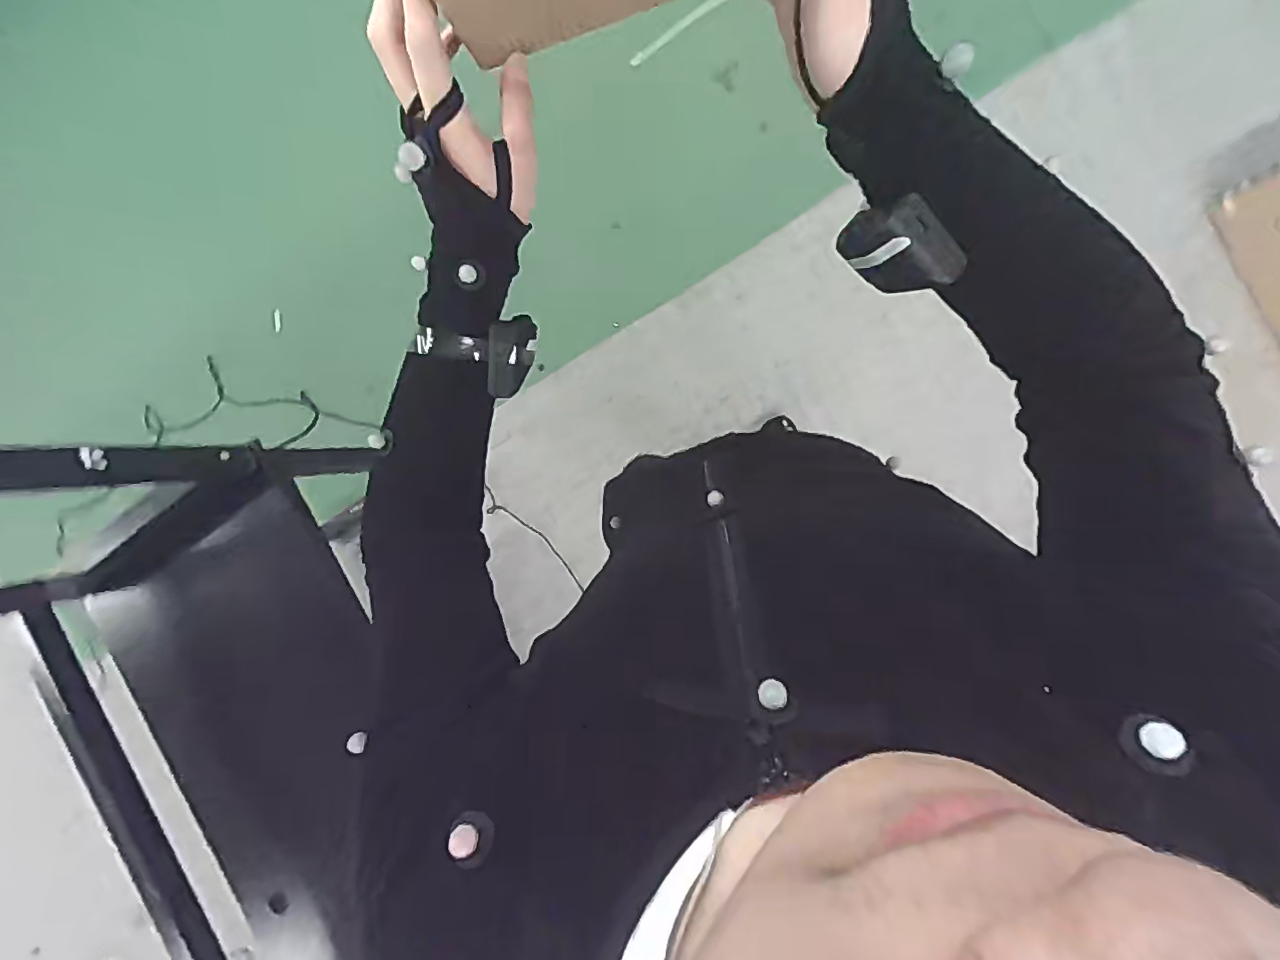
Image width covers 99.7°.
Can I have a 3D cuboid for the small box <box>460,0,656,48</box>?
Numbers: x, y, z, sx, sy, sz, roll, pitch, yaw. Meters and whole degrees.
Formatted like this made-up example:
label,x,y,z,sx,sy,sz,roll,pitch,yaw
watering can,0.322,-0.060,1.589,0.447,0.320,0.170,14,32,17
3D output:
label,x,y,z,sx,sy,sz,roll,pitch,yaw
small box,-0.039,-0.348,0.250,0.179,0.176,0.168,-16,109,4
